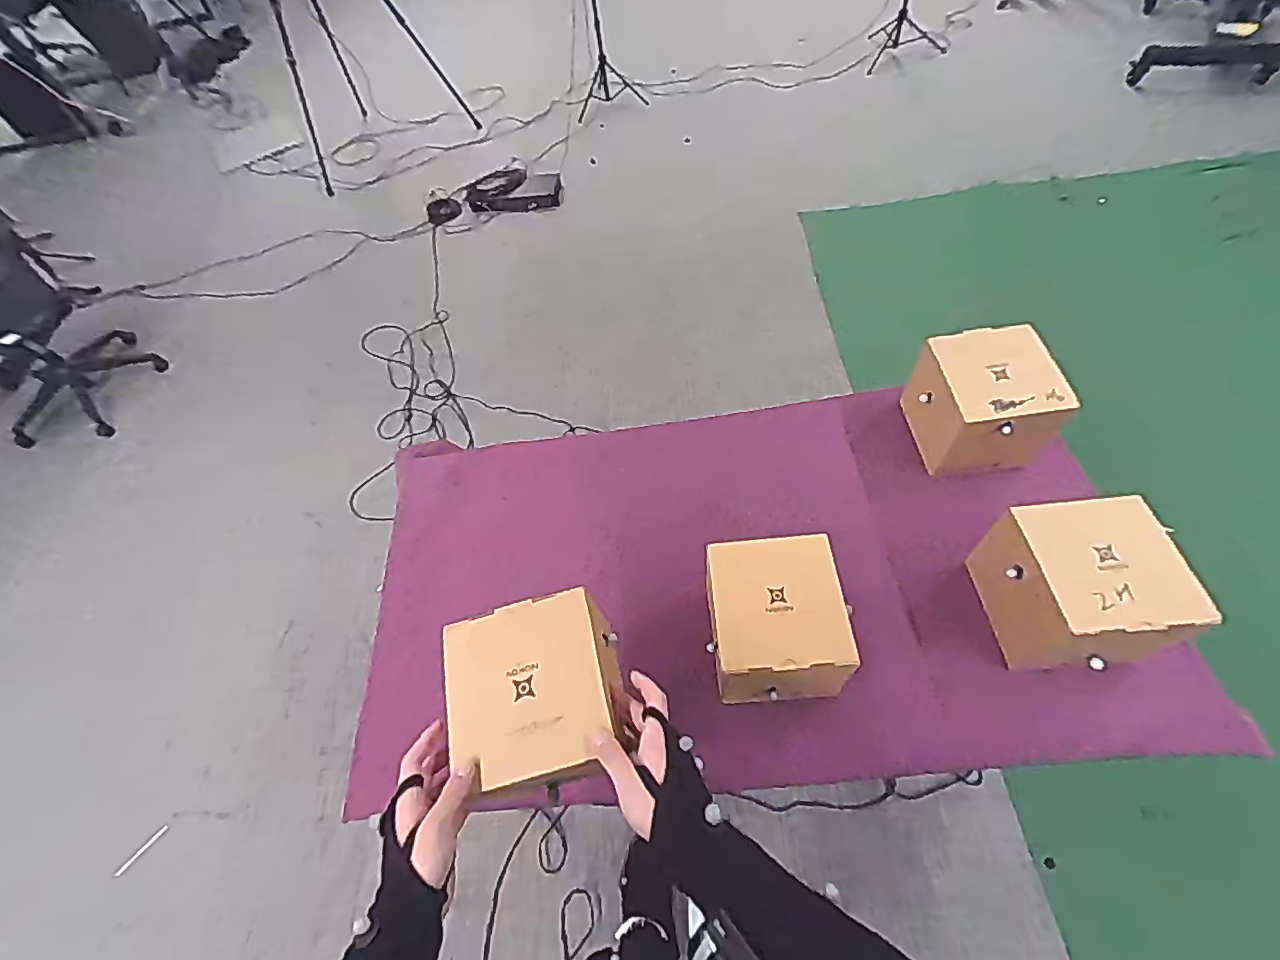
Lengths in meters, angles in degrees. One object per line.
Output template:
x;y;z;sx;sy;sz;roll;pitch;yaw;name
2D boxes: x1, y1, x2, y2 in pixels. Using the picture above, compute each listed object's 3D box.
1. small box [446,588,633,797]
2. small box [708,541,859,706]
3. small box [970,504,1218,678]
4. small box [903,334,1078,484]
-0.111;0.251;0.628;0.168;0.176;0.179;-15;58;-1;small box
0.185;0.205;0.759;0.168;0.176;0.179;-5;56;4;small box
0.585;0.154;0.734;0.168;0.176;0.179;-6;56;5;small box
0.568;-0.115;0.909;0.168;0.176;0.179;-8;58;5;small box
